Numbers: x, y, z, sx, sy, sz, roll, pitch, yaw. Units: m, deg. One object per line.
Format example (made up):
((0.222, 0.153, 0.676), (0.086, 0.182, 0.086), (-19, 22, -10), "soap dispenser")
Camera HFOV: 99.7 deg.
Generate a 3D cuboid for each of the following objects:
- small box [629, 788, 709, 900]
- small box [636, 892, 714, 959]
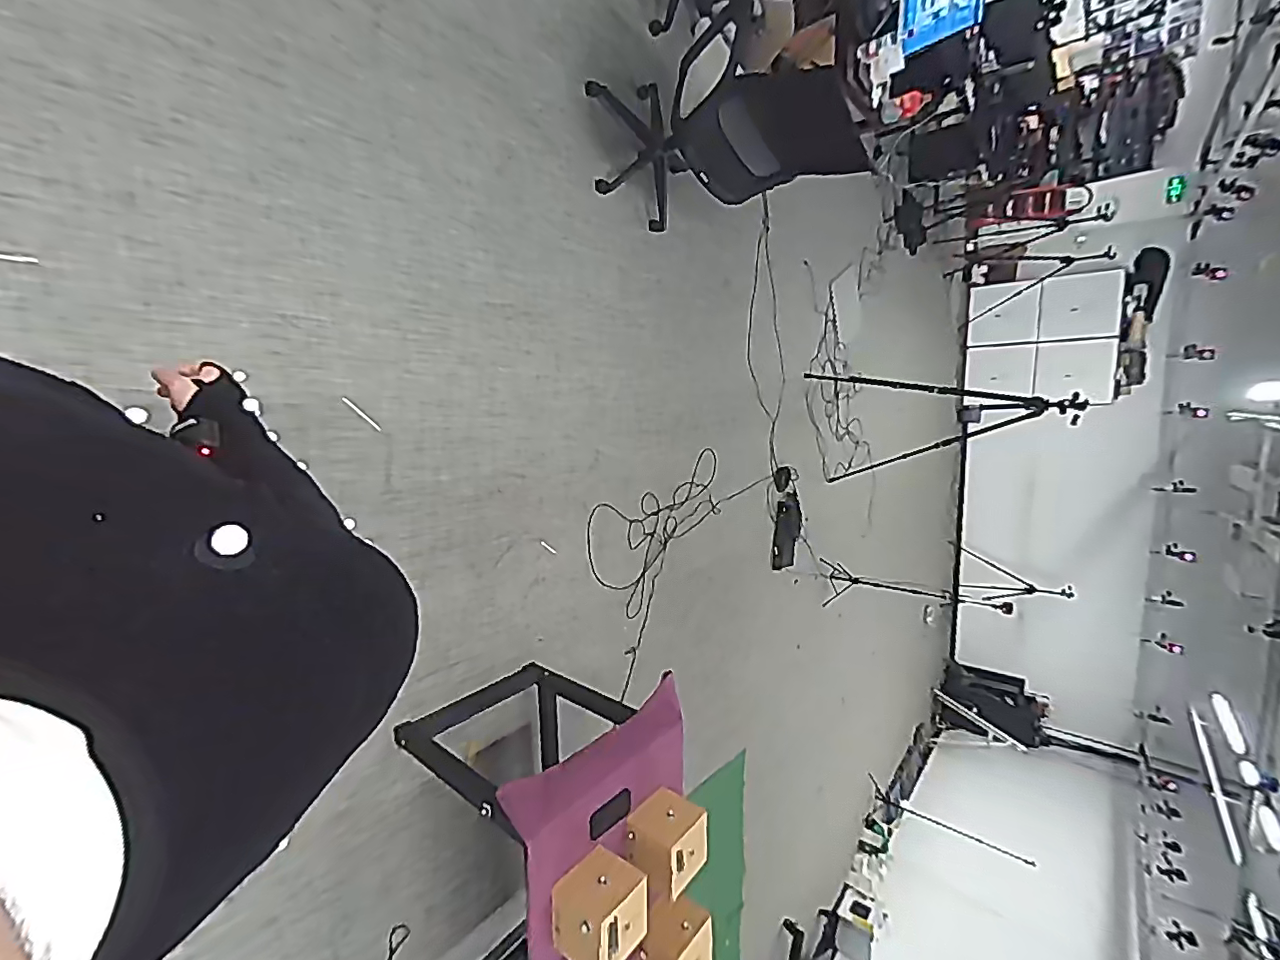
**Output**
((0.081, 1.034, 1.553), (0.179, 0.176, 0.168), (-11, 103, -50), "small box")
((0.106, 1.392, 1.625), (0.179, 0.176, 0.168), (-11, 102, -48), "small box")
